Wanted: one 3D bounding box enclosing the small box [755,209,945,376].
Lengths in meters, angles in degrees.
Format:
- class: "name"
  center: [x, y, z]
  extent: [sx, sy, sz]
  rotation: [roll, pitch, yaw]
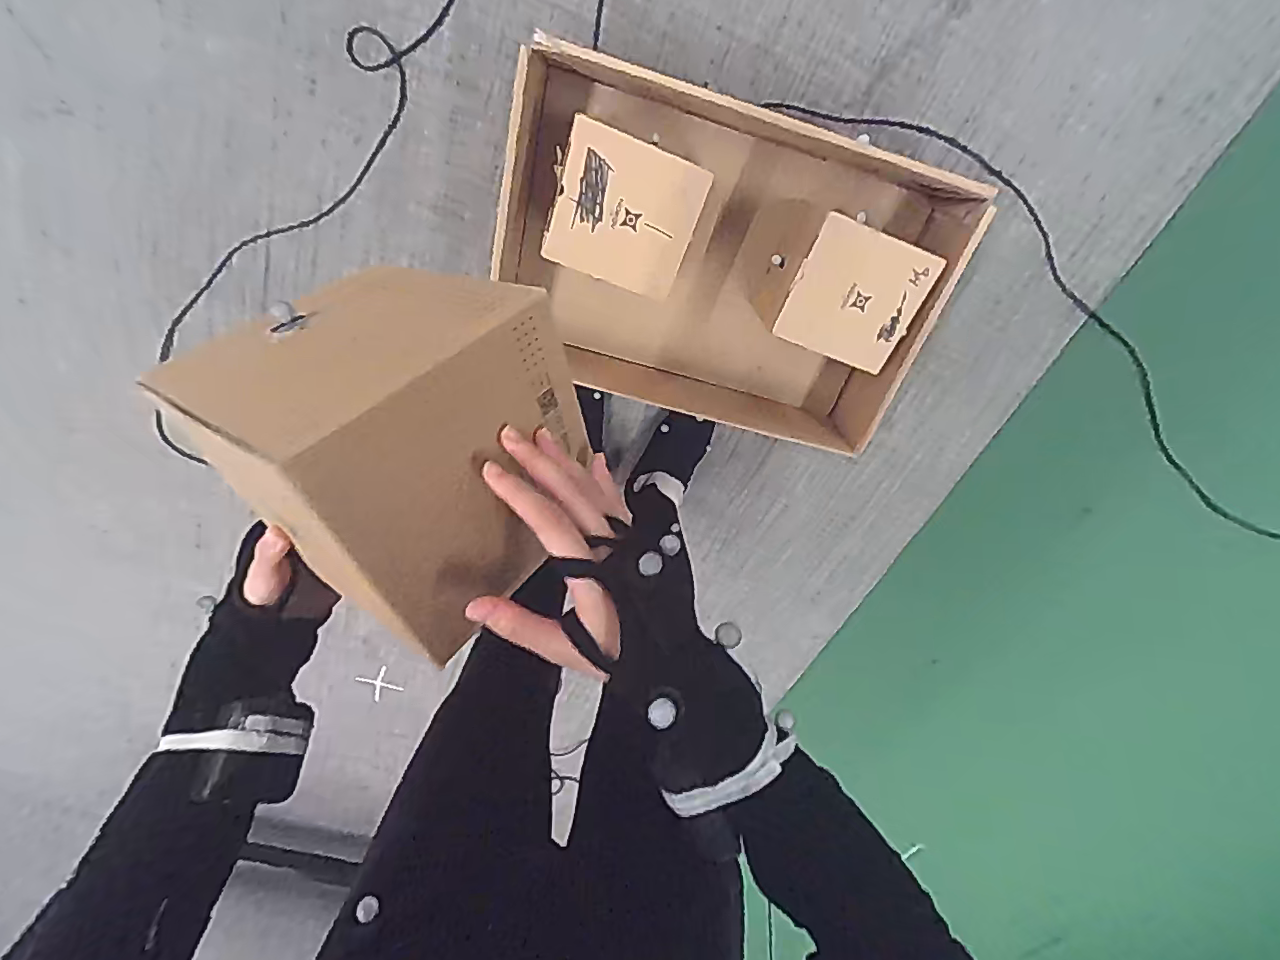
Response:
- class: "small box"
  center: [0.287, -0.279, 0.789]
  extent: [0.179, 0.176, 0.168]
  rotation: [19, 119, -10]
